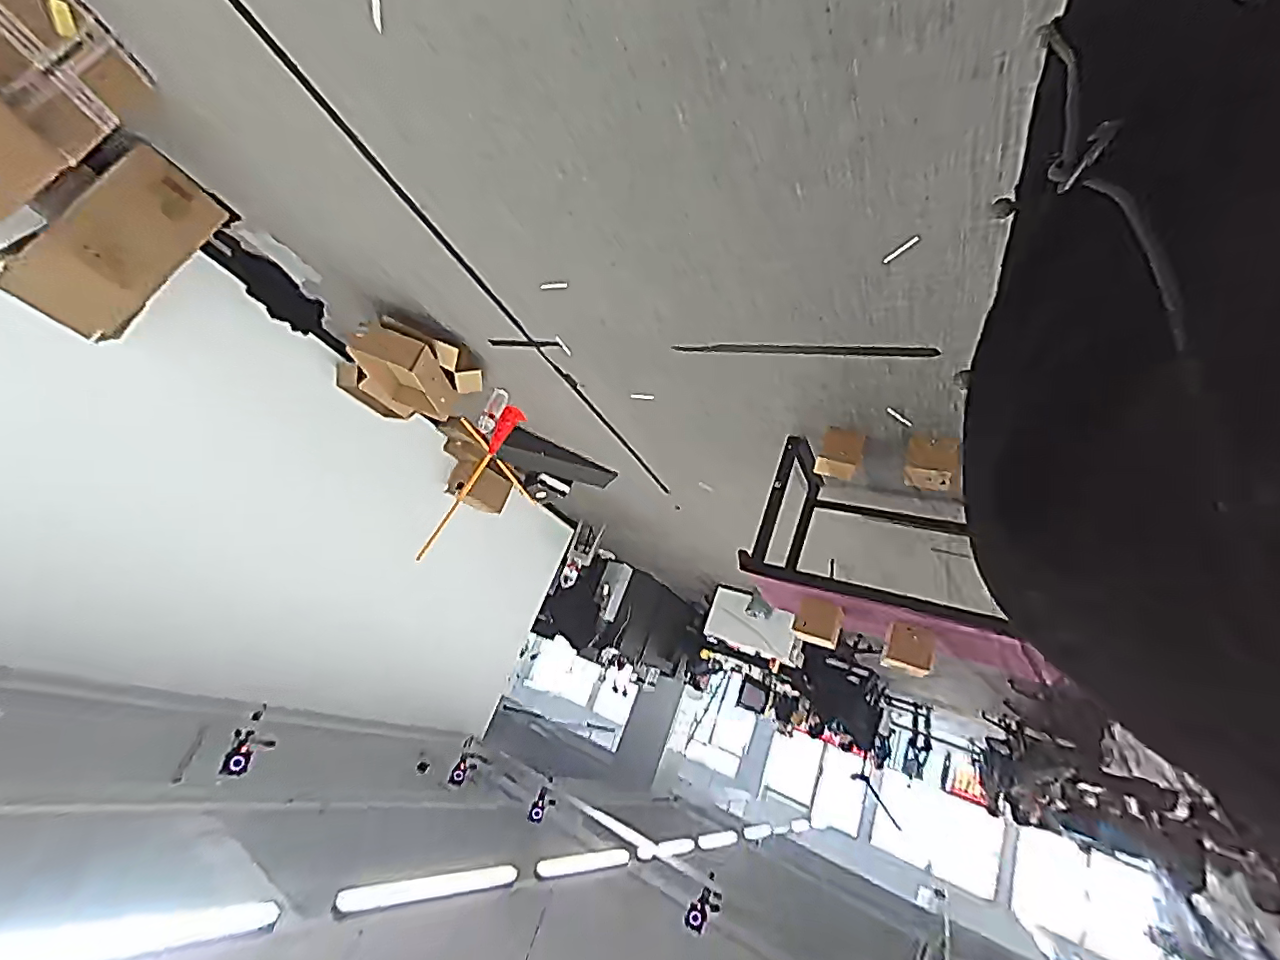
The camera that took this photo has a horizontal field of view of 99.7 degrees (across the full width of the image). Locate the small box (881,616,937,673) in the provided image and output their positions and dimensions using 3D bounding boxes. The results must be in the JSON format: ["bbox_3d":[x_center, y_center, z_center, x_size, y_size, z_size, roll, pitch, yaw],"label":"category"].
[{"bbox_3d":[1.129,0.690,2.268,0.168,0.176,0.179,14,159,22],"label":"small box"}]

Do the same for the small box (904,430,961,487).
[{"bbox_3d":[1.230,-0.096,2.276,0.179,0.176,0.168,12,159,29],"label":"small box"}]

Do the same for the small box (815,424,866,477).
[{"bbox_3d":[0.927,-0.140,2.502,0.179,0.176,0.168,15,160,16],"label":"small box"}]

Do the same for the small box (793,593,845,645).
[{"bbox_3d":[0.810,0.623,2.443,0.179,0.176,0.168,10,159,31],"label":"small box"}]
